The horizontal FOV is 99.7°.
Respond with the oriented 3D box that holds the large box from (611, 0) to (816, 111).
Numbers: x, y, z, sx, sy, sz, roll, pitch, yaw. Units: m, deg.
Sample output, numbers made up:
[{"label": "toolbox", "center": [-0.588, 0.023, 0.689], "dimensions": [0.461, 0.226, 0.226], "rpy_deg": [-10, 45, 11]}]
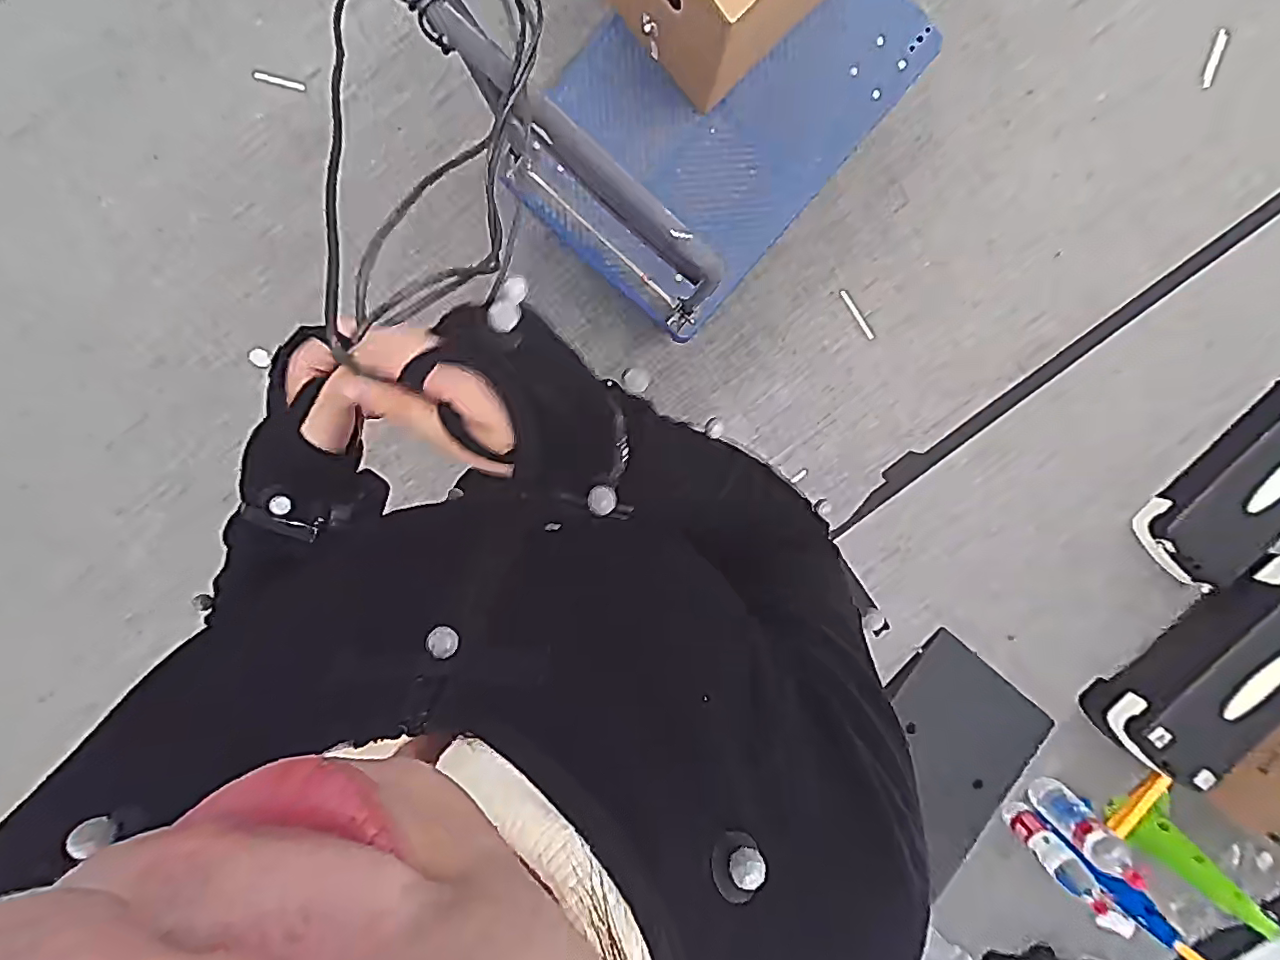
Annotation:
[{"label": "large box", "center": [0.185, -1.017, 0.996], "dimensions": [0.408, 0.320, 0.320], "rpy_deg": [-43, 99, 5]}]
